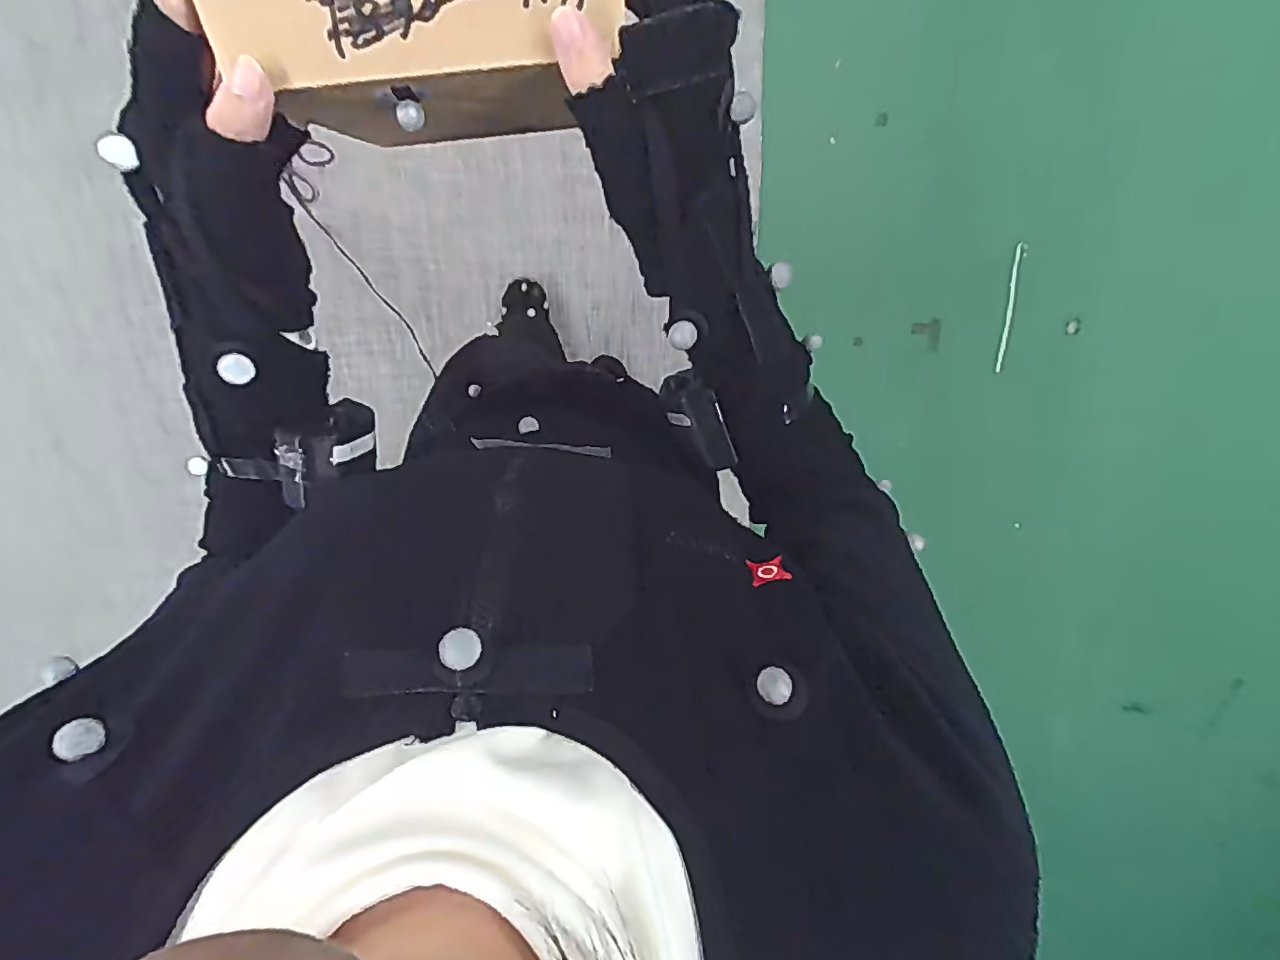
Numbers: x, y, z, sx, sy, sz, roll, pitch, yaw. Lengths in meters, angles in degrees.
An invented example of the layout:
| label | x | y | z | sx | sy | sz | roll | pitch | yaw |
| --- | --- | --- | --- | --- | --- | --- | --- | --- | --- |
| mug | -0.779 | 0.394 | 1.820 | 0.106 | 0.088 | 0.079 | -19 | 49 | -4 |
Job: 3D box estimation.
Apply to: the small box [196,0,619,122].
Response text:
| label | x | y | z | sx | sy | sz | roll | pitch | yaw |
| --- | --- | --- | --- | --- | --- | --- | --- | --- | --- |
| small box | -0.104 | -0.294 | 0.255 | 0.168 | 0.176 | 0.179 | -7 | 115 | -2 |

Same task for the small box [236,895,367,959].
| label | x | y | z | sx | sy | sz | roll | pitch | yaw |
| --- | --- | --- | --- | --- | --- | --- | --- | --- | --- |
| small box | -0.618 | 0.887 | 0.973 | 0.168 | 0.176 | 0.179 | -1 | 106 | -3 |
